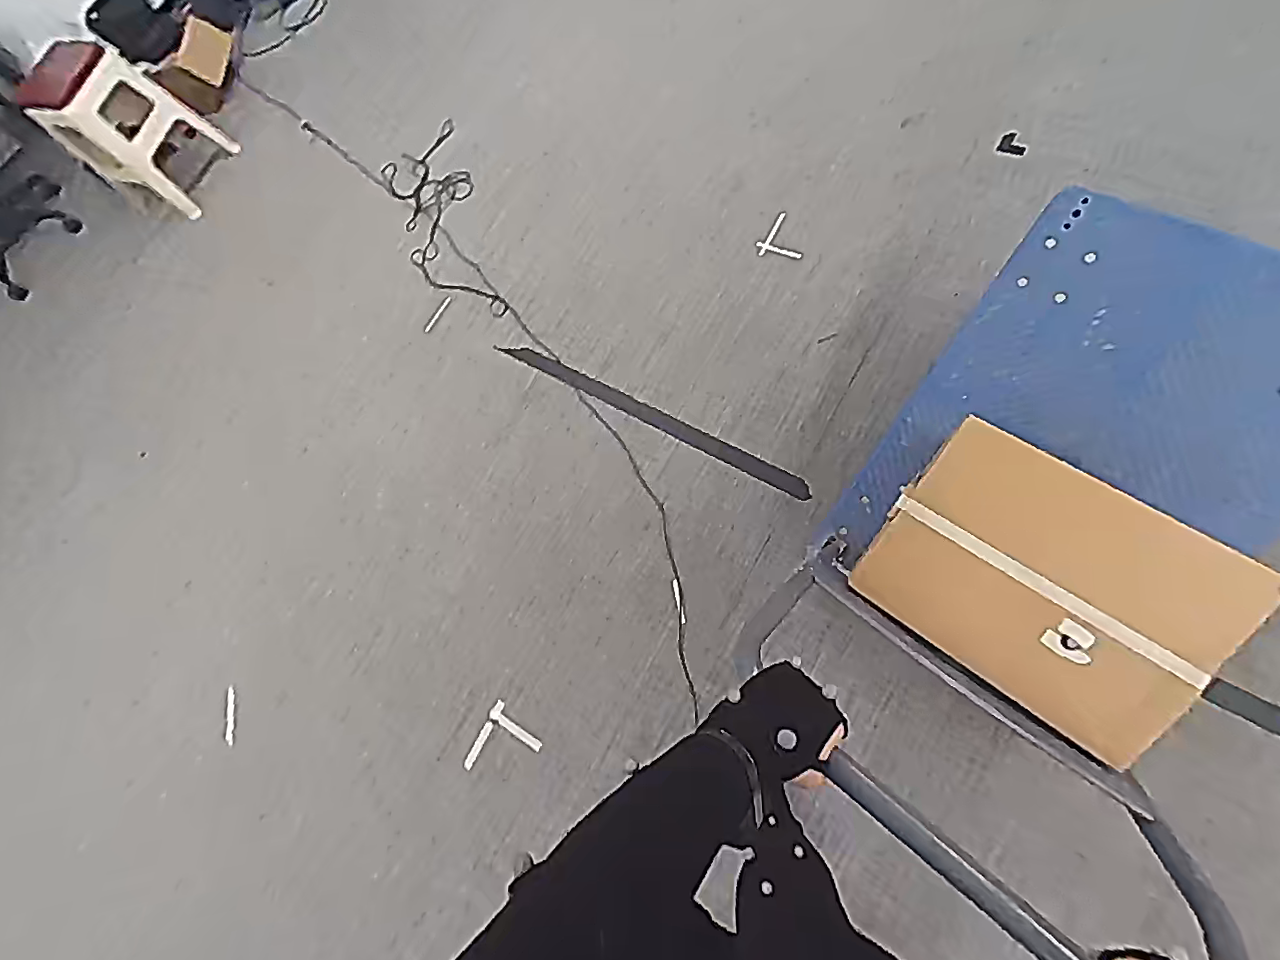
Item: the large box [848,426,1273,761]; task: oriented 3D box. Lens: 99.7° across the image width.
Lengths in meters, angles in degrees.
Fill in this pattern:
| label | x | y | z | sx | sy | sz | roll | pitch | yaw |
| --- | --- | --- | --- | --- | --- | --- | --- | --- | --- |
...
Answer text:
| label | x | y | z | sx | sy | sz | roll | pitch | yaw |
| --- | --- | --- | --- | --- | --- | --- | --- | --- | --- |
| large box | 0.614 | 0.153 | 0.900 | 0.408 | 0.320 | 0.320 | 36 | 103 | 21 |
